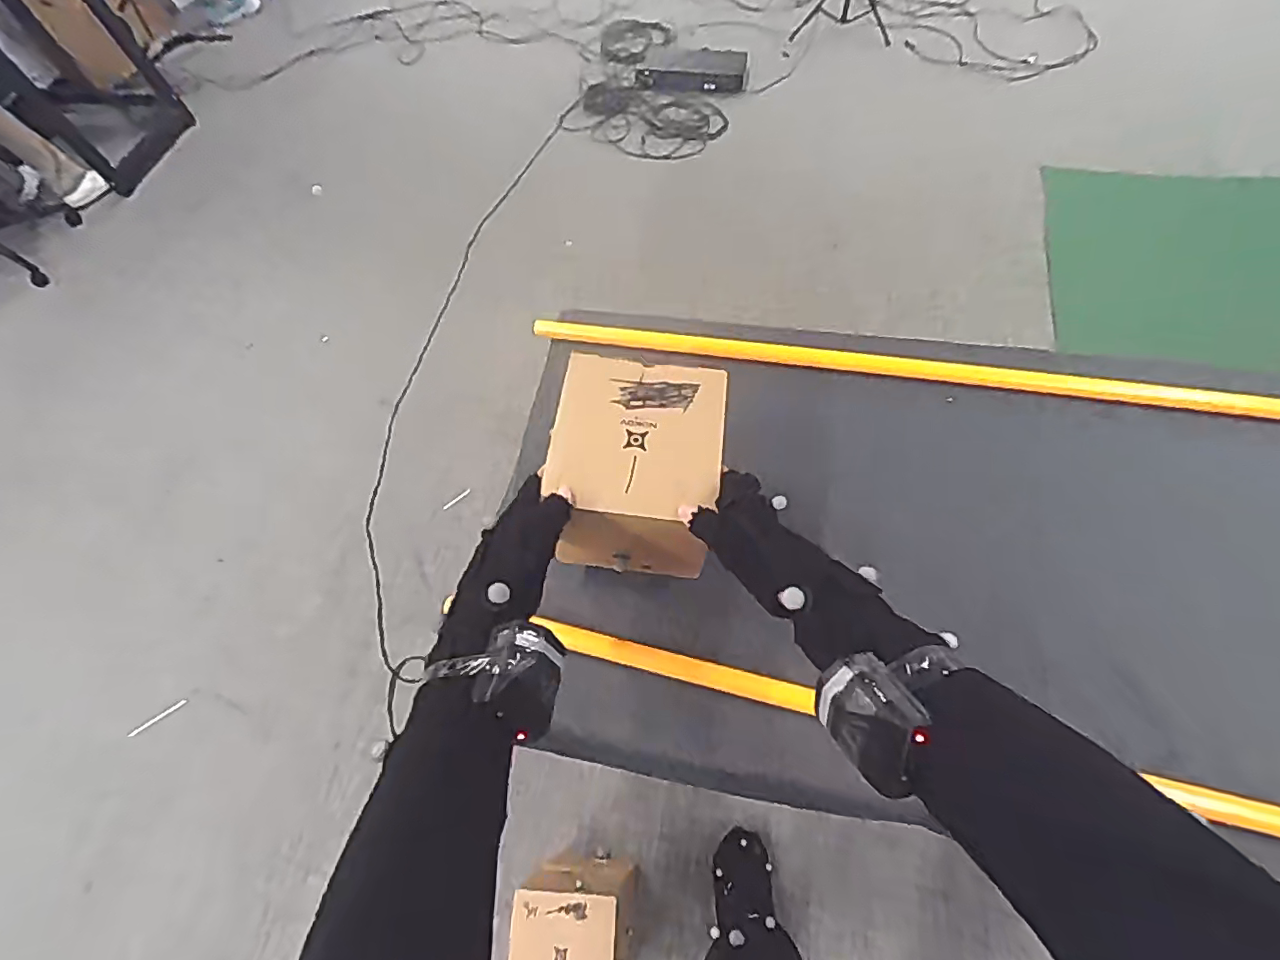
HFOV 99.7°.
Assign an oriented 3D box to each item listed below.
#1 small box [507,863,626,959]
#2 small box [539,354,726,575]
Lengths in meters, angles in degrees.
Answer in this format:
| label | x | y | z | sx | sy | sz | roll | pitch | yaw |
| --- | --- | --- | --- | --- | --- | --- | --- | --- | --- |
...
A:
| label | x | y | z | sx | sy | sz | roll | pitch | yaw |
| --- | --- | --- | --- | --- | --- | --- | --- | --- | --- |
| small box | -0.114 | 0.758 | 0.896 | 0.168 | 0.176 | 0.179 | -2 | 63 | 5 |
| small box | -0.004 | -0.011 | 0.598 | 0.168 | 0.176 | 0.179 | 6 | 64 | 3 |
